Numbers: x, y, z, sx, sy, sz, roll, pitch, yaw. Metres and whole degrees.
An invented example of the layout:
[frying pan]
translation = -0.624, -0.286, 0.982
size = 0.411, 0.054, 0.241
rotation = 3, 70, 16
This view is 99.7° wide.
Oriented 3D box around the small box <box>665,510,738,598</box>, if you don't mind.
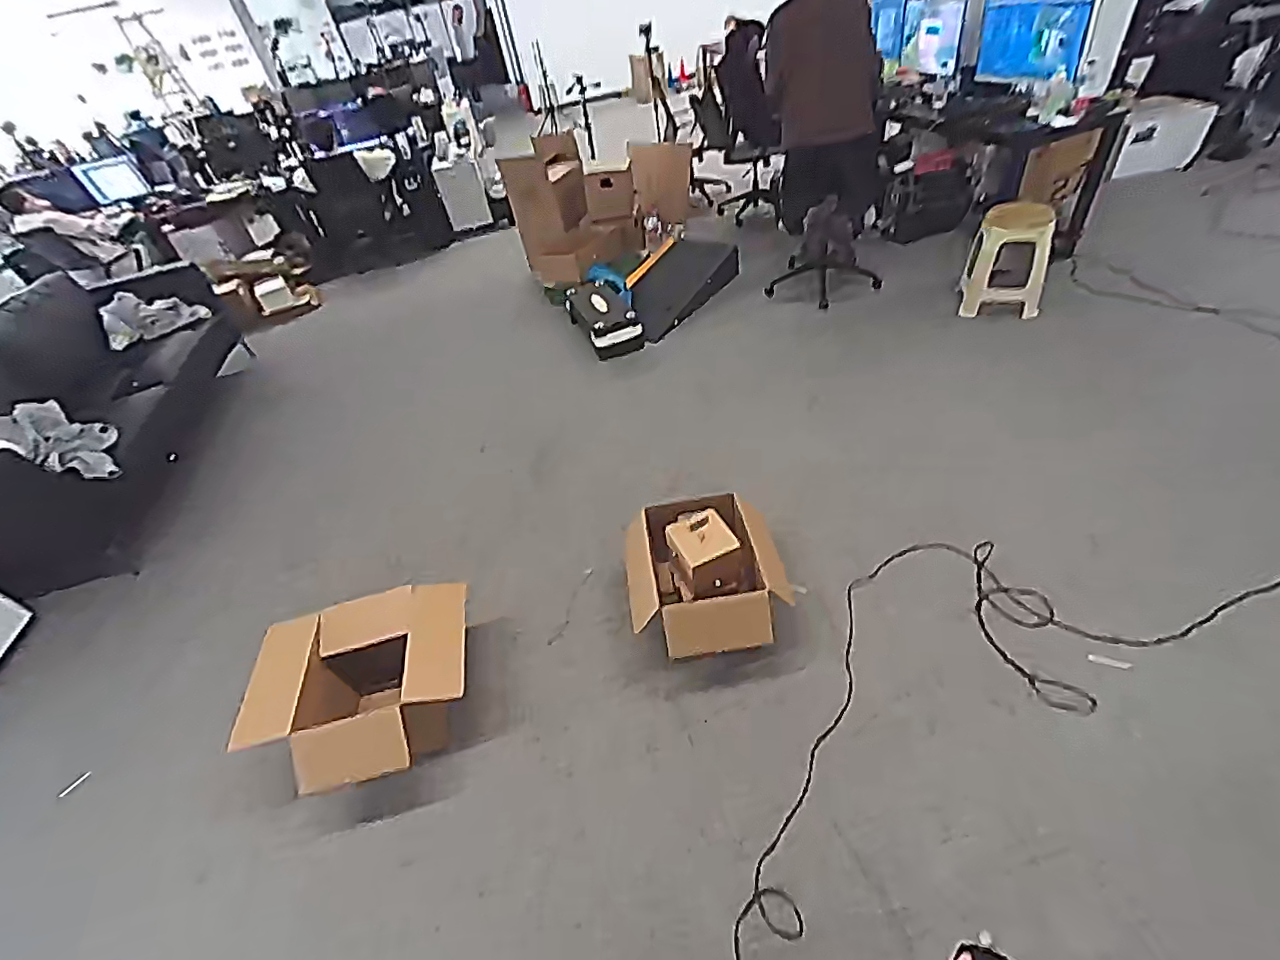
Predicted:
[small box]
translation = 0.190, 0.228, 1.658
size = 0.168, 0.176, 0.179
rotation = -20, 42, -9
